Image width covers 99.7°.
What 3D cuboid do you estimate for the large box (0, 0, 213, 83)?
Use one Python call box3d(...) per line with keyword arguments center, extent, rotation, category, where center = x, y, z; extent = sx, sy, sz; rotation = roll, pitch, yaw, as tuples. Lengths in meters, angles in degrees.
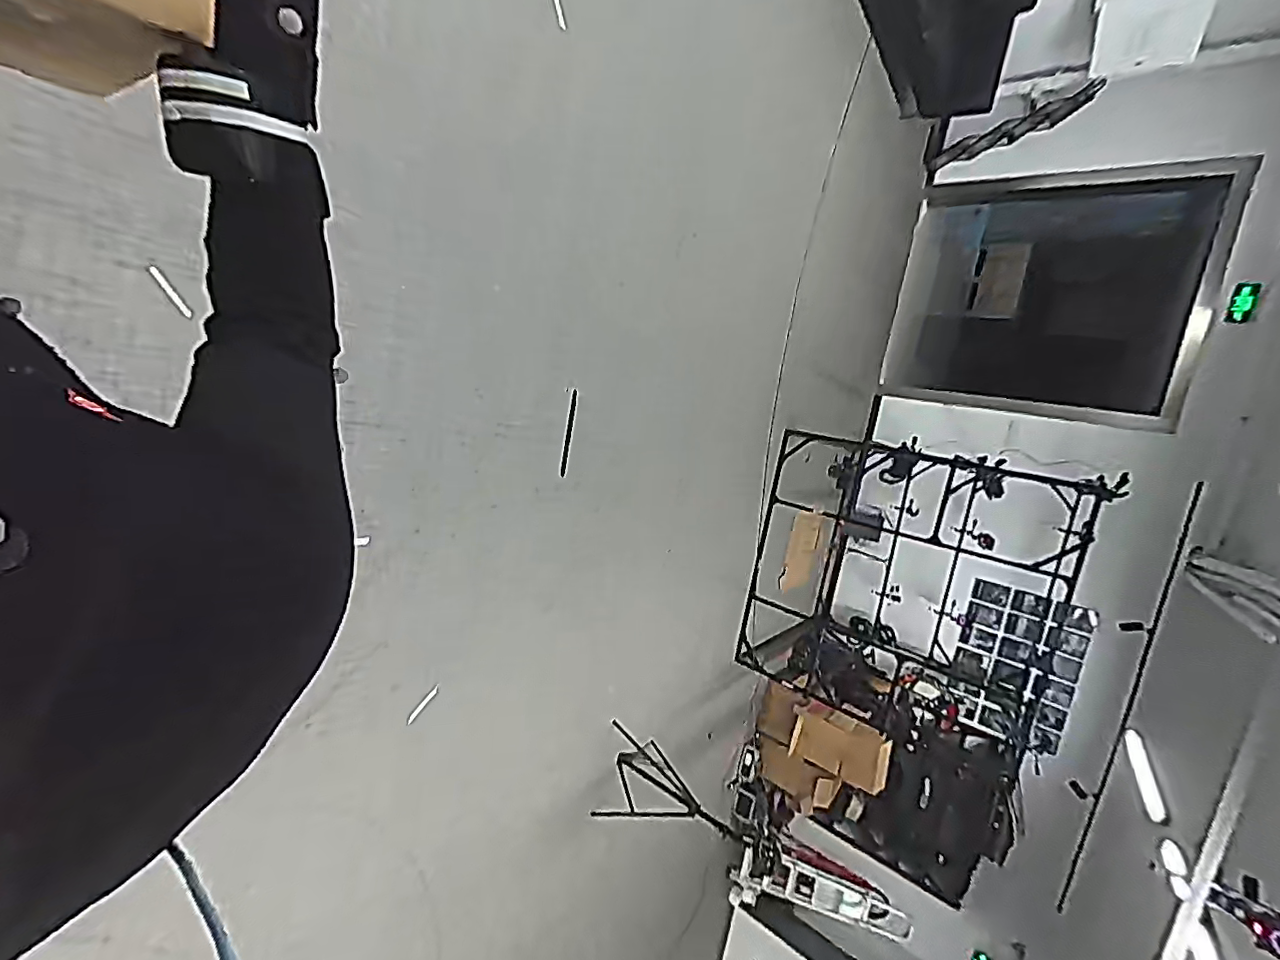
box3d(center=(-0.479, -0.443, 0.224), extent=(0.408, 0.320, 0.320), rotation=(-10, 115, -53), category="large box")
